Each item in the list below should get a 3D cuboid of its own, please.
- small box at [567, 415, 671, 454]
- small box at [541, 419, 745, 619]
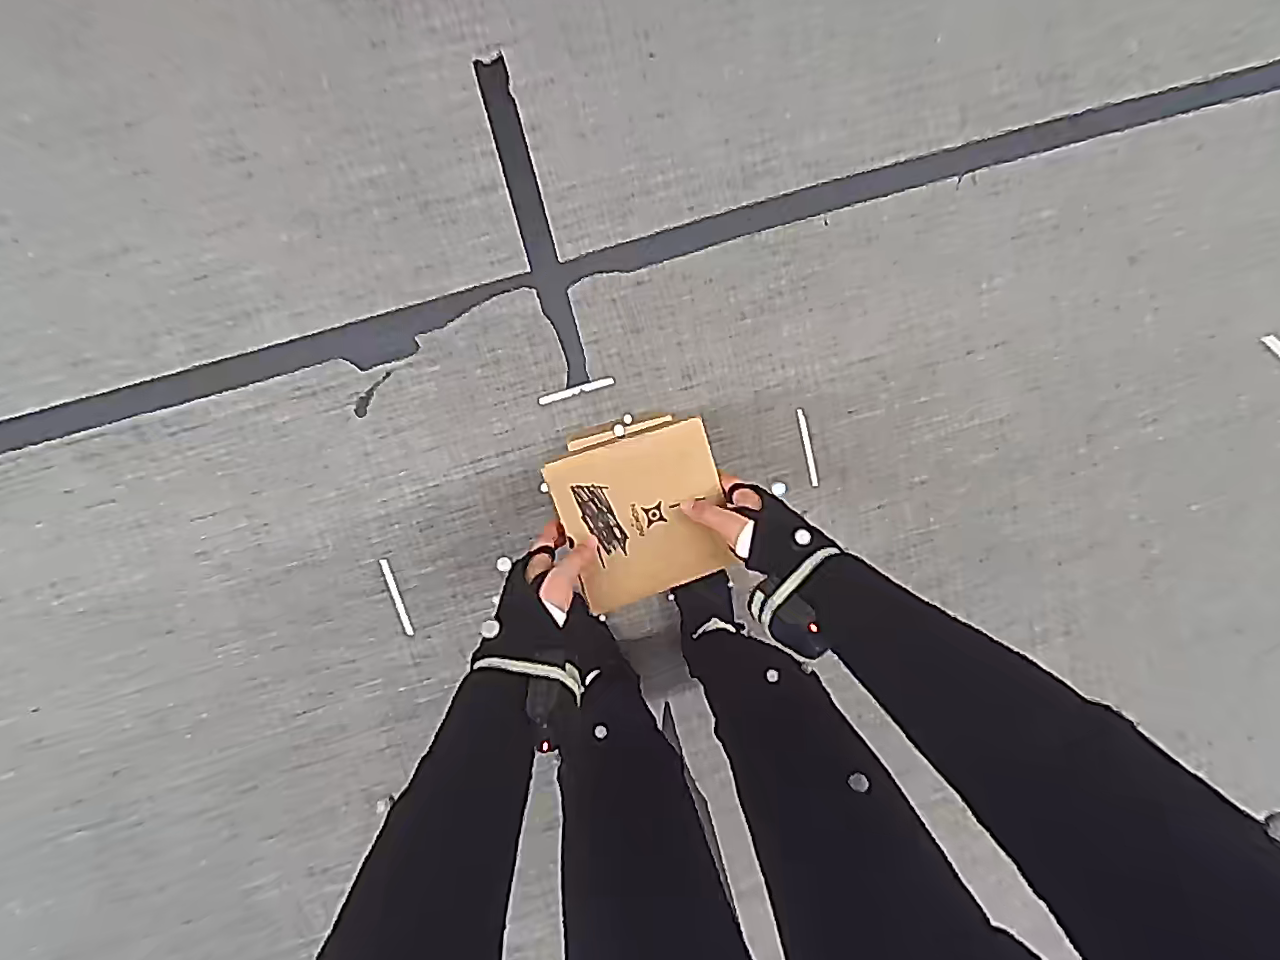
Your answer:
[{"bbox_3d":[-0.018,-0.003,0.904,0.168,0.176,0.179,-15,101,-4],"label":"small box"},{"bbox_3d":[-0.004,0.035,0.628,0.179,0.176,0.168,-18,98,-7],"label":"small box"}]
